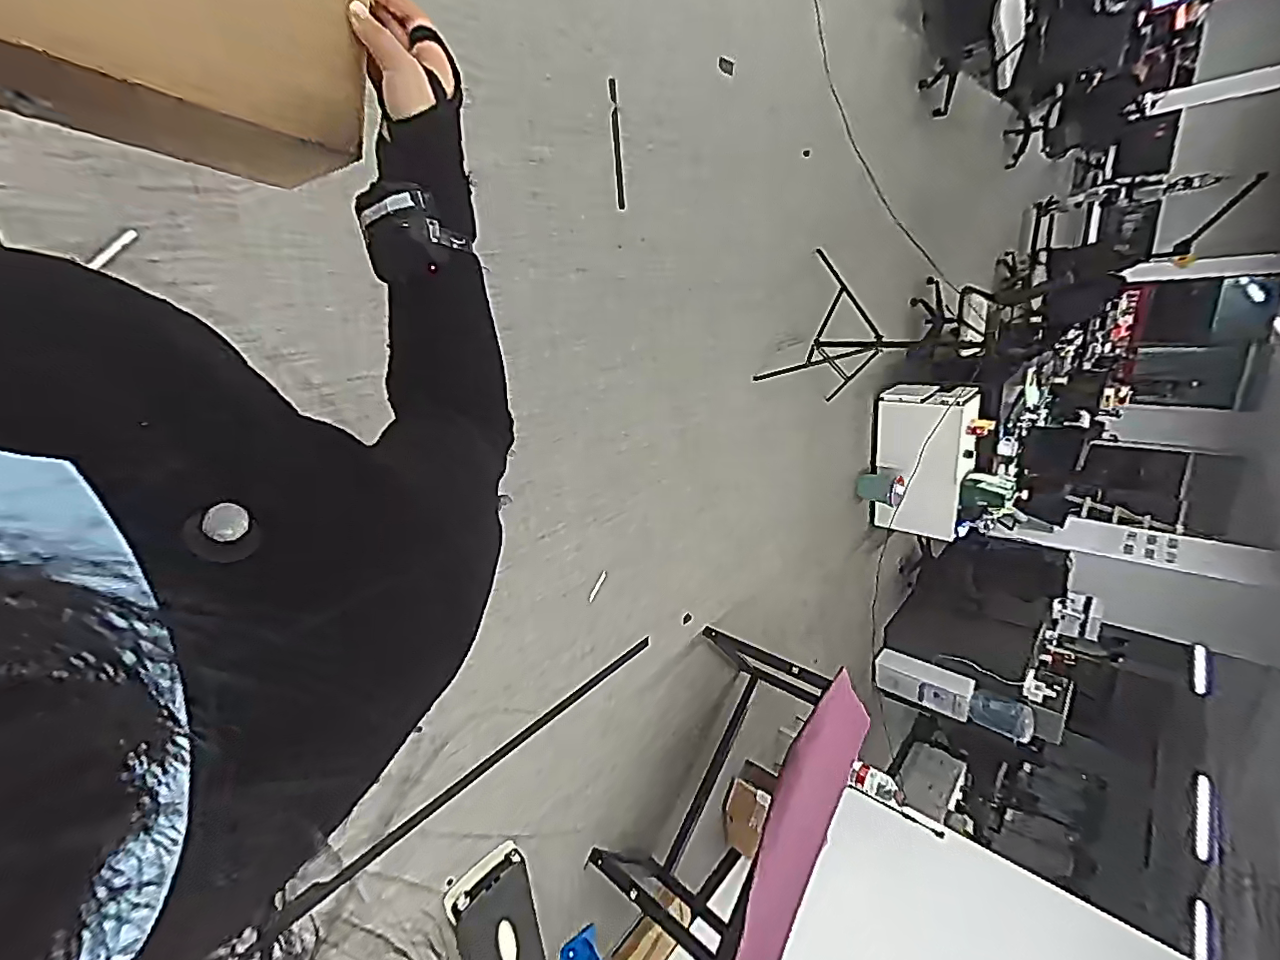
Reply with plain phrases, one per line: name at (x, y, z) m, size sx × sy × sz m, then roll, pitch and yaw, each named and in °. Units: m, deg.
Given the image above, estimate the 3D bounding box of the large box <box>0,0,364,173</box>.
large box at (-0.446, -0.456, 0.382) m, size 0.408 × 0.320 × 0.320 m, roll -2°, pitch 108°, yaw -41°
